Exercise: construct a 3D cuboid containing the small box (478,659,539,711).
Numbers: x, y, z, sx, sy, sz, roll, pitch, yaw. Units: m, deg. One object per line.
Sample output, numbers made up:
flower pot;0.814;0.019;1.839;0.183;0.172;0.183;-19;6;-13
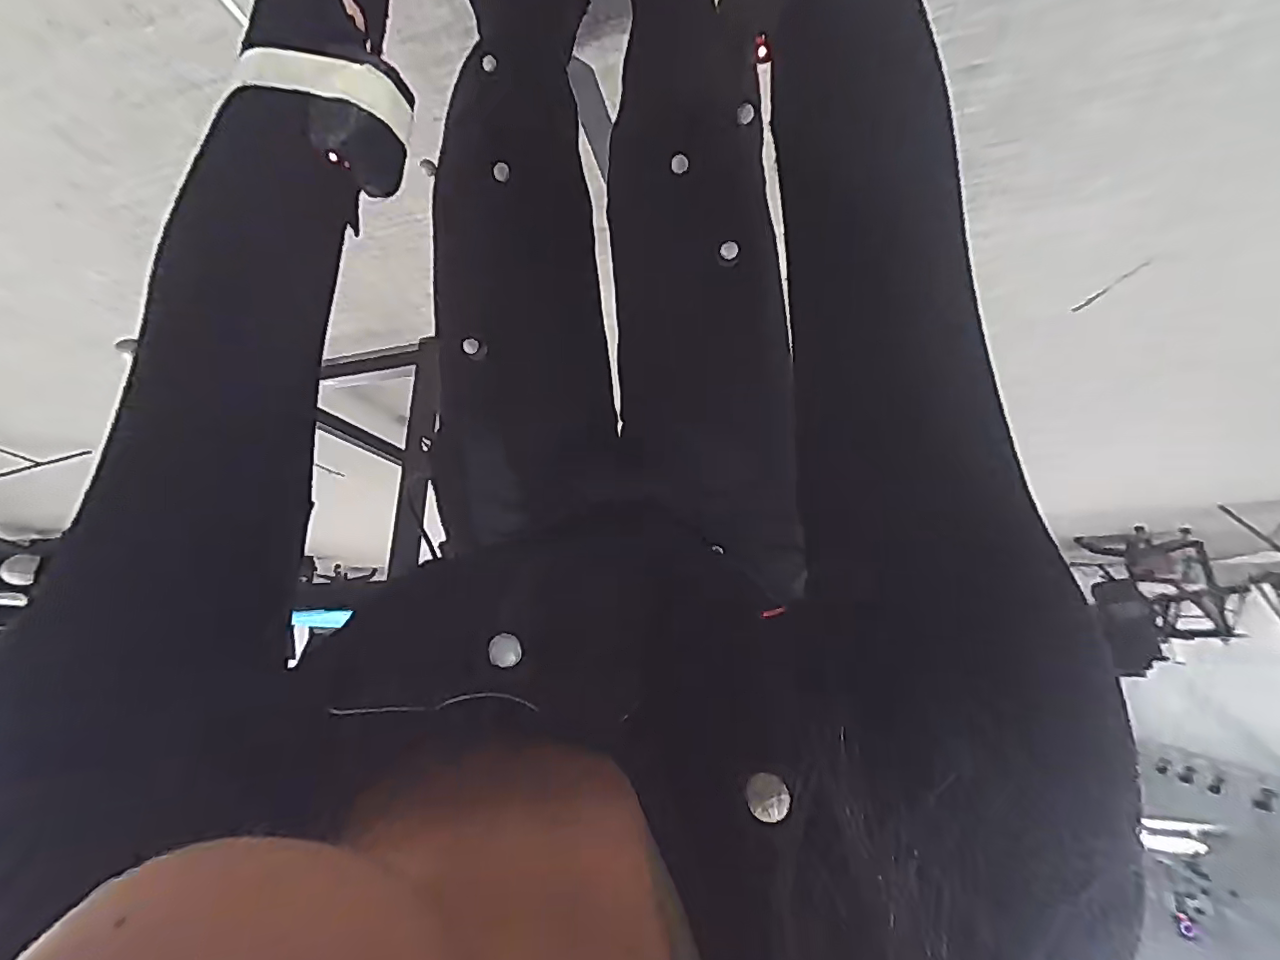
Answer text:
small box;-0.489;0.762;2.022;0.179;0.176;0.168;-4;163;7
